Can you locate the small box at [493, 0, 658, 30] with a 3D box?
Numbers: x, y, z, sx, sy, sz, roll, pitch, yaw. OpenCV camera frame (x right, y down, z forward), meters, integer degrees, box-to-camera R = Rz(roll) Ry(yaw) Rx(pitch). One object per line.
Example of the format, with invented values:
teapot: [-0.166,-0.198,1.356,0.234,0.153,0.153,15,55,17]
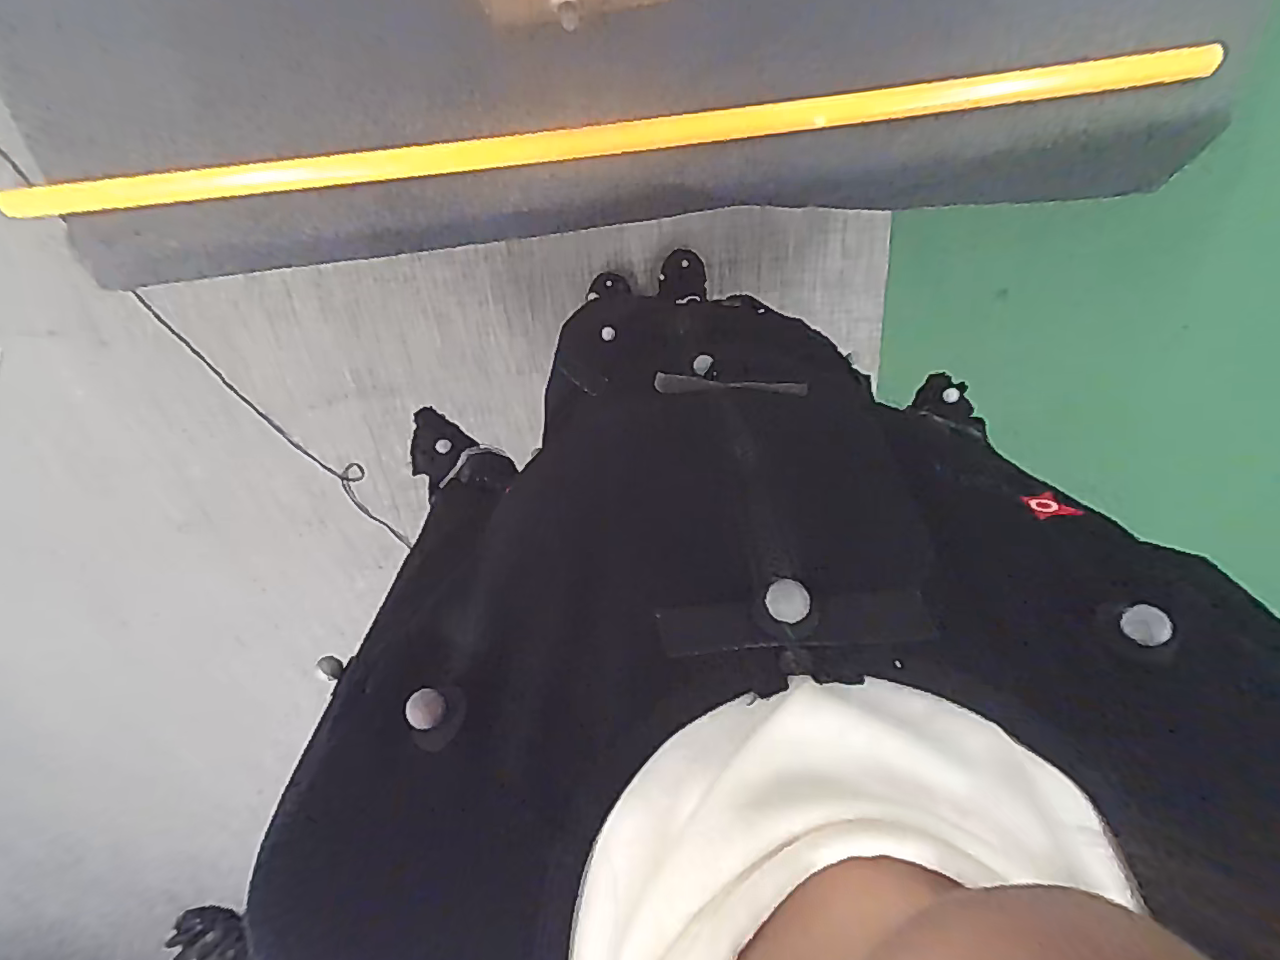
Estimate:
small box: [-0.065,-0.488,0.409,0.168,0.176,0.179,-8,115,4]
